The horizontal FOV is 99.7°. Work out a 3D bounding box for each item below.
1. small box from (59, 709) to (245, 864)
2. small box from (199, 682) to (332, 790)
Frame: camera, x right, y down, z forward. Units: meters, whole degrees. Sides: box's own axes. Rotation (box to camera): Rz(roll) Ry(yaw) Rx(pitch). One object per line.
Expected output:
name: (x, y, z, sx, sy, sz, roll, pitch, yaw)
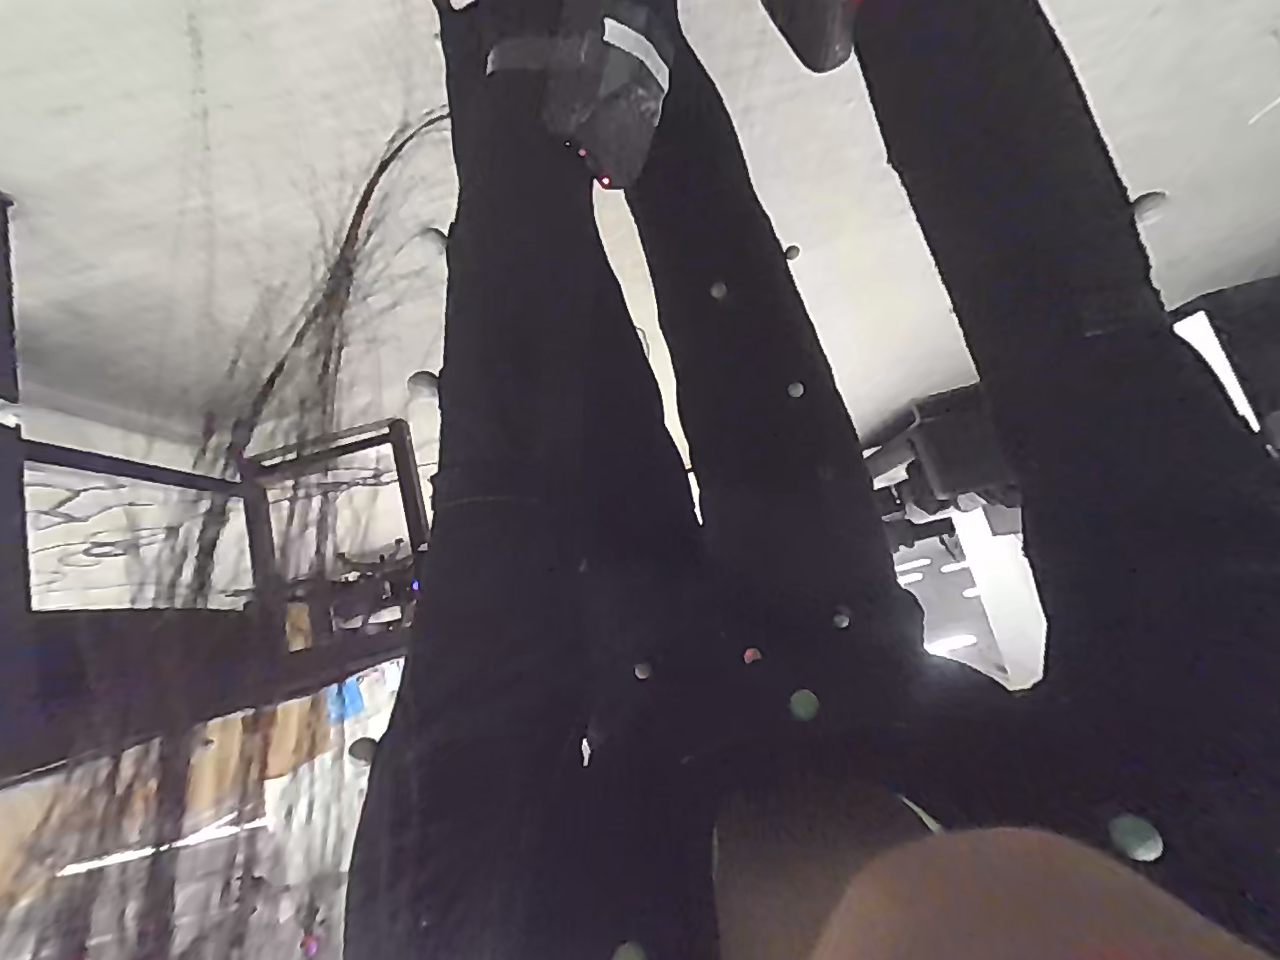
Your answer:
small box: (-0.824, 0.507, 0.923, 0.179, 0.176, 0.168, -15, 170, 2)
small box: (-0.806, 0.546, 1.163, 0.179, 0.176, 0.168, -14, 170, 1)
